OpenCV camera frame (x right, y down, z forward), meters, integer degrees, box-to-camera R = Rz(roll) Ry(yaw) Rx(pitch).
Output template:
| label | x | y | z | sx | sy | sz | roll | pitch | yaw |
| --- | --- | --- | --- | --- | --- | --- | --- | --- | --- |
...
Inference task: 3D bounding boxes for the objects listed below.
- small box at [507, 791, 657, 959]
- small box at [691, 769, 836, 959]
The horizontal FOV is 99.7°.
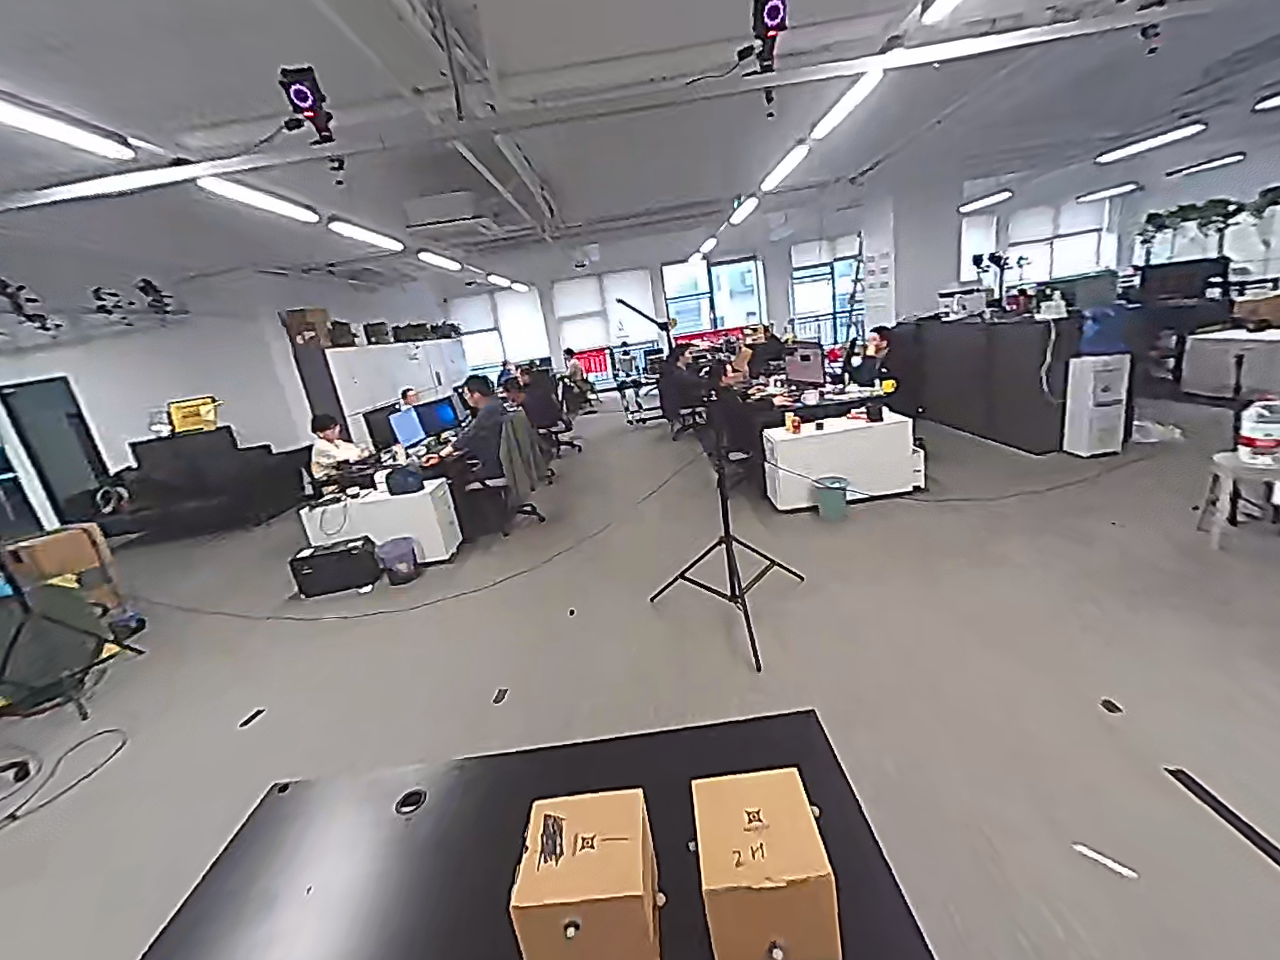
| label | x | y | z | sx | sy | sz | roll | pitch | yaw |
| --- | --- | --- | --- | --- | --- | --- | --- | --- | --- |
| small box | -0.073 | 0.593 | 0.786 | 0.179 | 0.176 | 0.168 | -8 | 16 | 3 |
| small box | 0.169 | 0.556 | 0.775 | 0.168 | 0.176 | 0.179 | -10 | 15 | 3 |
